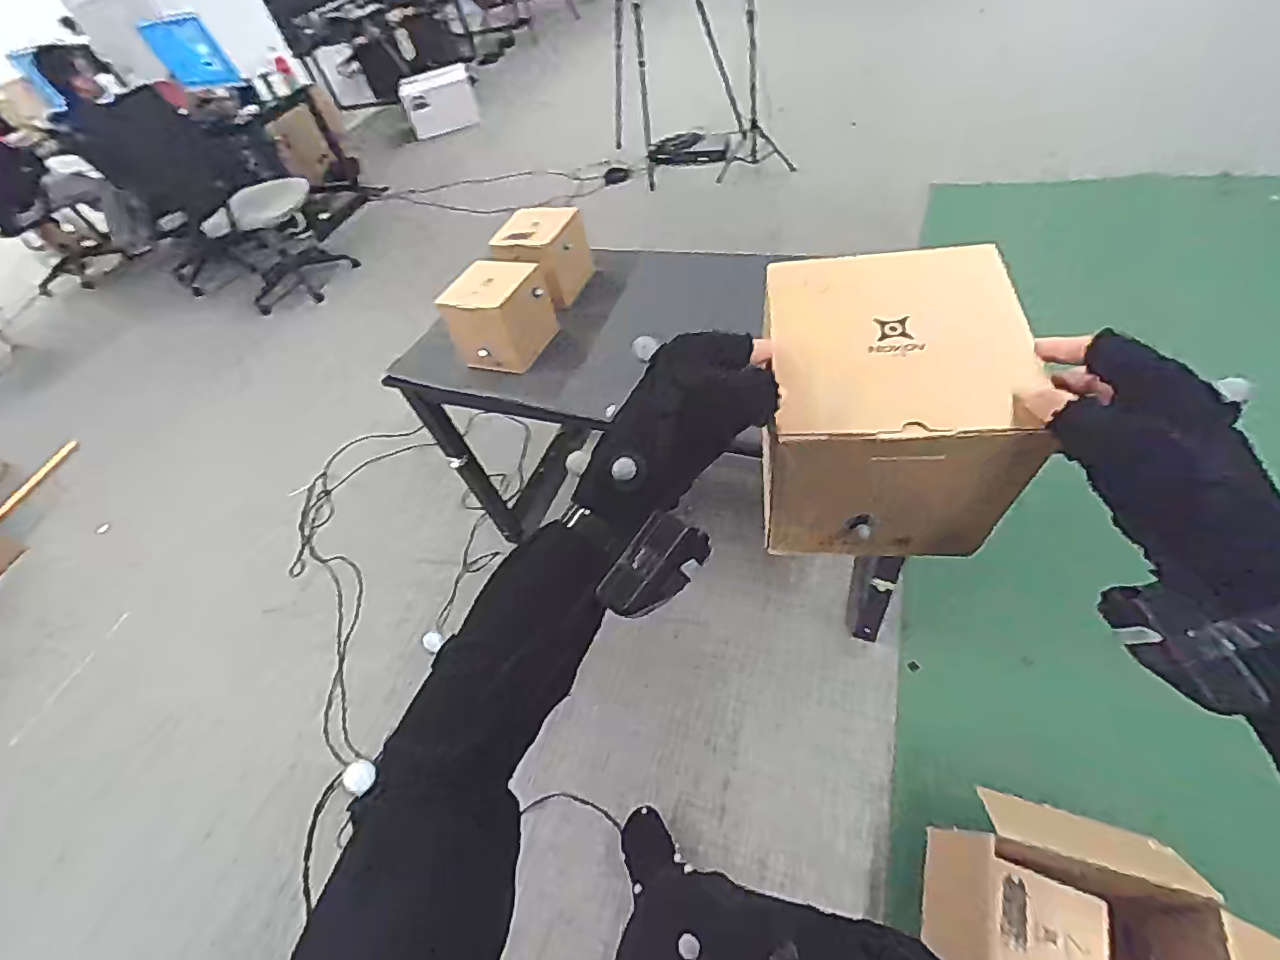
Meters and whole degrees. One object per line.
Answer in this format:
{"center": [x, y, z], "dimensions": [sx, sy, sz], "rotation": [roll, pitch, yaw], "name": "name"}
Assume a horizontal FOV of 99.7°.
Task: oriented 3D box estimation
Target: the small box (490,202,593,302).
{"center": [-0.231, -0.559, 1.333], "dimensions": [0.168, 0.176, 0.179], "rotation": [11, 55, 20], "name": "small box"}

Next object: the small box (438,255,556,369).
{"center": [-0.305, -0.375, 1.203], "dimensions": [0.168, 0.176, 0.179], "rotation": [12, 55, 21], "name": "small box"}
